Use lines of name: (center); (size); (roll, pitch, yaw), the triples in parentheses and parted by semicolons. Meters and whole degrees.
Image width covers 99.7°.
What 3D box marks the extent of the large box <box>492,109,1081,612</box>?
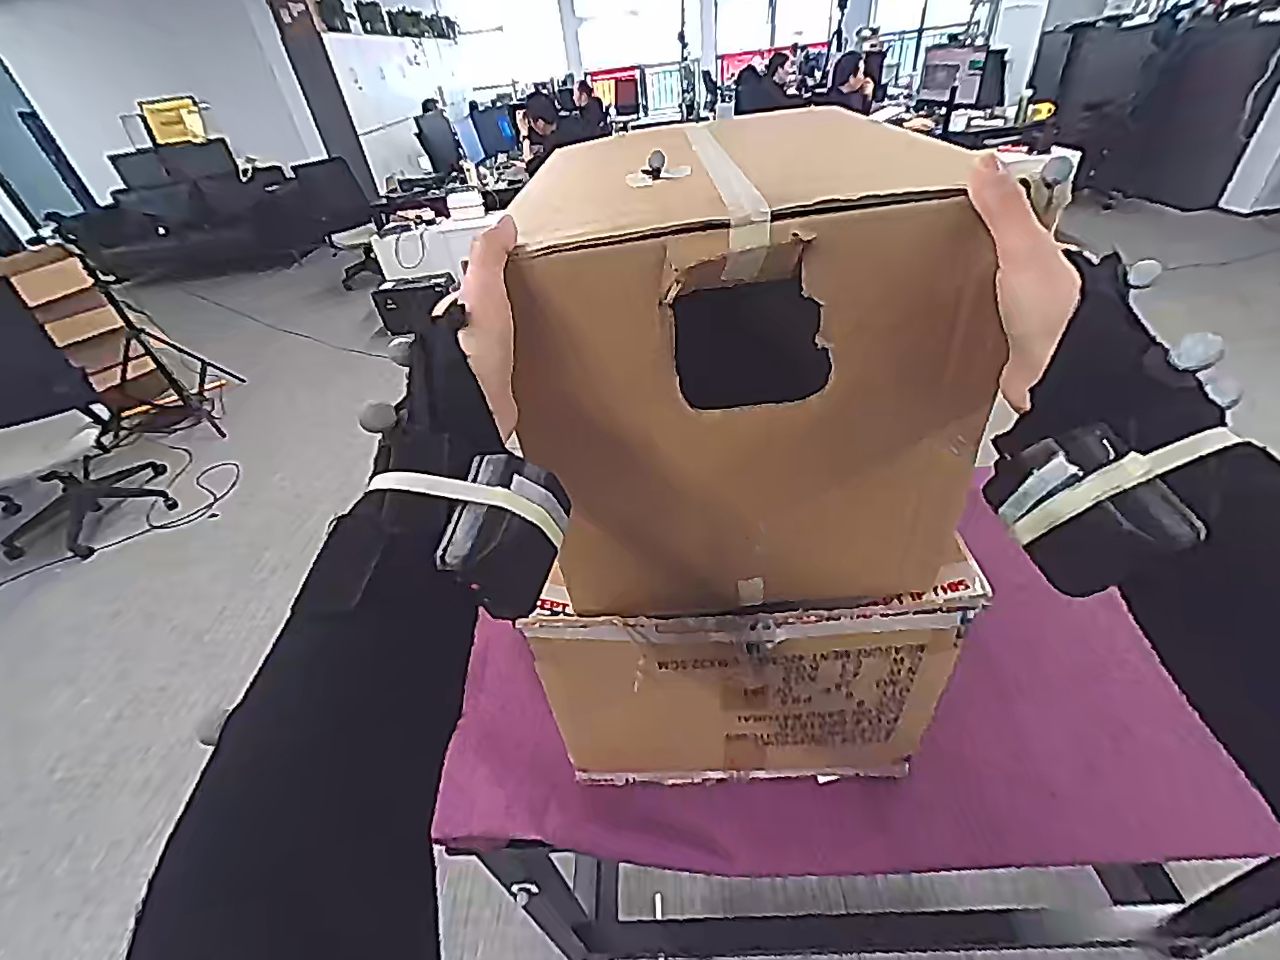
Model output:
large box: (0.084, -0.136, 0.524); (0.320, 0.320, 0.408); (-7, 39, 5)
